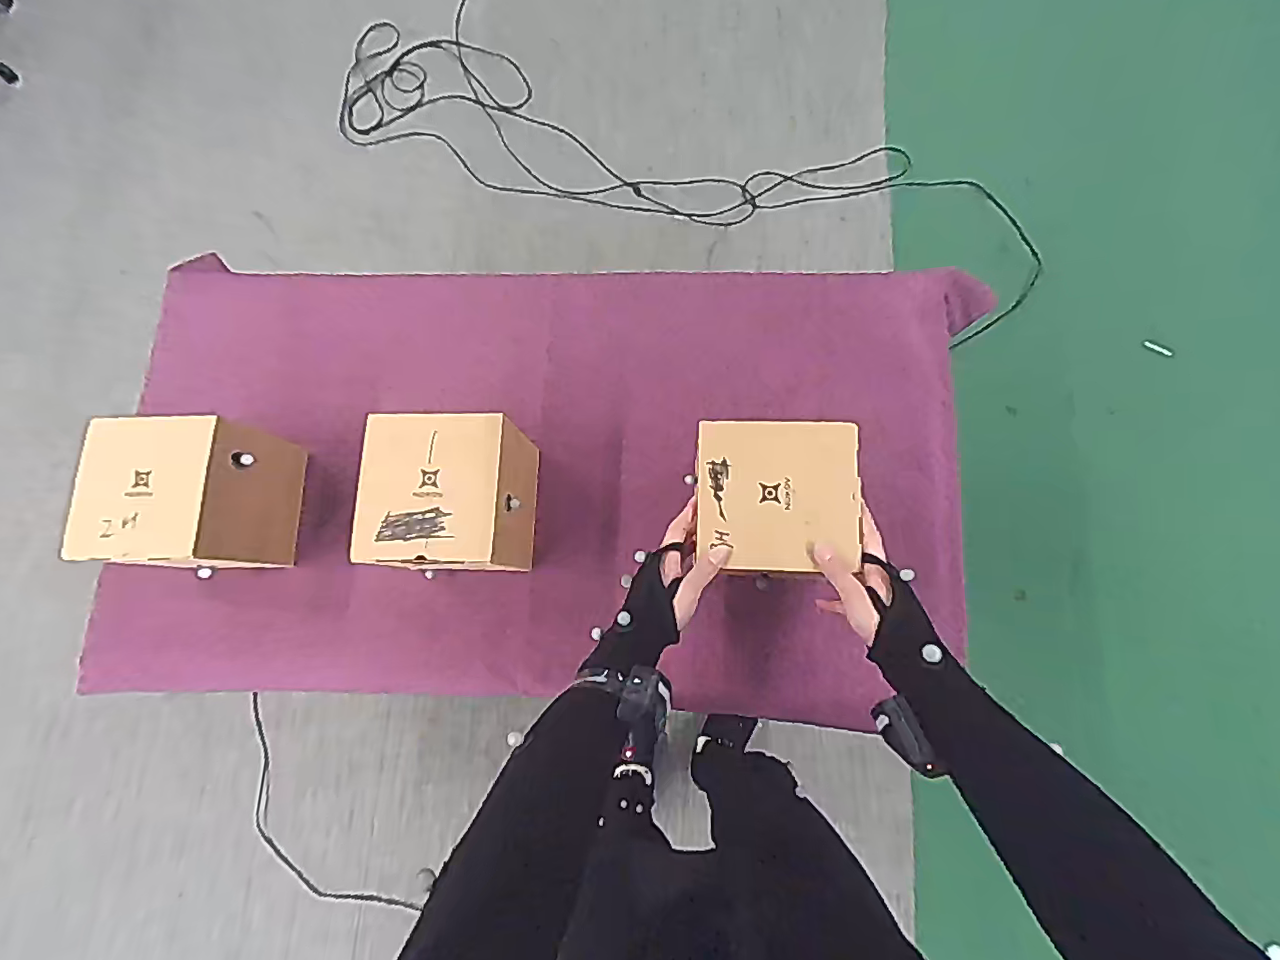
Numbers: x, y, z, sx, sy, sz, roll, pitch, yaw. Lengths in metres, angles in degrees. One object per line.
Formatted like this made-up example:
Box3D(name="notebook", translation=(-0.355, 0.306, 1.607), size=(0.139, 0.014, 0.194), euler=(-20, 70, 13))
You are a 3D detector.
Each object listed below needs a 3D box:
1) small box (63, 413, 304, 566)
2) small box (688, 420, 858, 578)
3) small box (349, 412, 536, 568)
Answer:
Box3D(name="small box", translation=(-0.584, 0.020, 0.720), size=(0.168, 0.176, 0.179), euler=(-1, 78, 4))
Box3D(name="small box", translation=(0.151, 0.032, 0.663), size=(0.179, 0.176, 0.168), euler=(2, 78, 5))
Box3D(name="small box", translation=(-0.238, 0.022, 0.695), size=(0.168, 0.176, 0.179), euler=(1, 78, 4))
